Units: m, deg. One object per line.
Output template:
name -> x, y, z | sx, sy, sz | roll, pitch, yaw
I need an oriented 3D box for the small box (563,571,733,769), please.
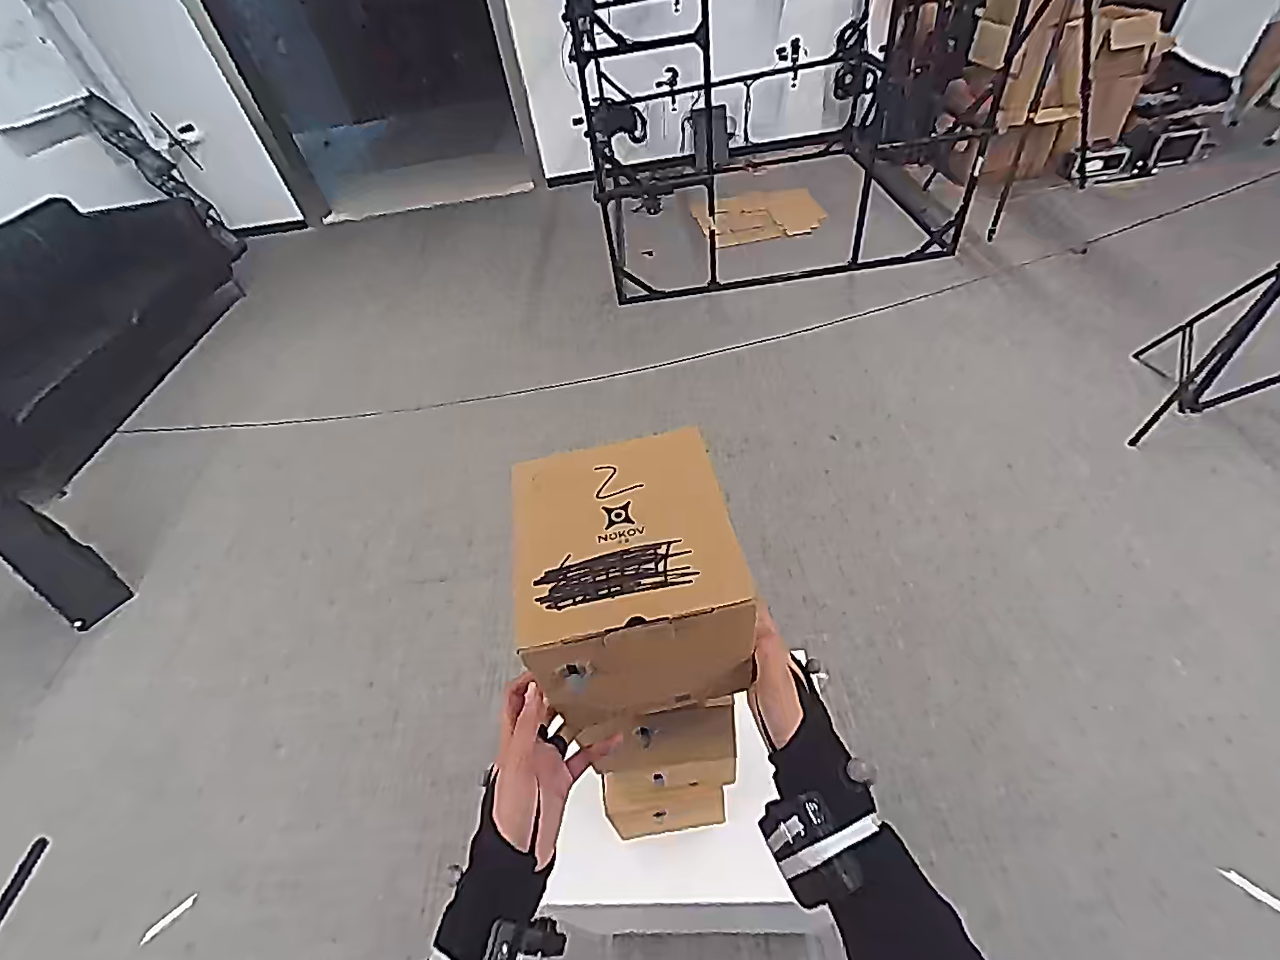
small box -> 0.014, 0.235, 0.658 | 0.179, 0.176, 0.168 | -7, 45, 3

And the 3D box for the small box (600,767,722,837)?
small box -> 0.033, 0.466, 0.889 | 0.179, 0.176, 0.168 | -10, 46, 0

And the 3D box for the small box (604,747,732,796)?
small box -> 0.037, 0.339, 0.784 | 0.168, 0.176, 0.179 | -9, 45, 1
